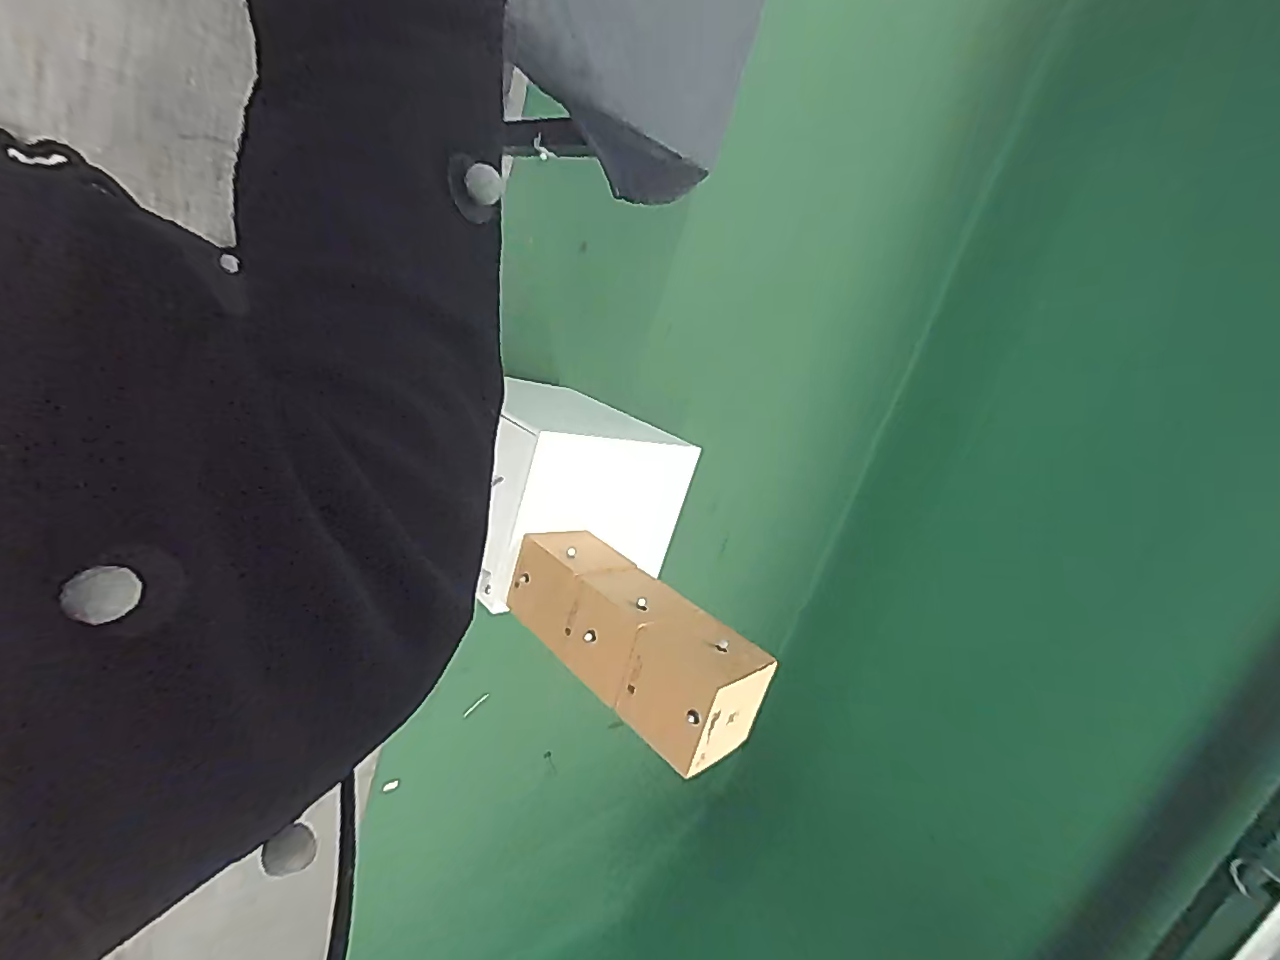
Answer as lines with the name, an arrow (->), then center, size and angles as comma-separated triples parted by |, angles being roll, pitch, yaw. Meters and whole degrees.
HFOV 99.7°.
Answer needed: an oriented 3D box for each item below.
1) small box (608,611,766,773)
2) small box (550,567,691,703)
small box -> 0.078, 0.340, 0.912 | 0.179, 0.176, 0.168 | -1, 112, -49
small box -> -0.041, 0.276, 1.005 | 0.179, 0.176, 0.168 | 3, 110, -50
